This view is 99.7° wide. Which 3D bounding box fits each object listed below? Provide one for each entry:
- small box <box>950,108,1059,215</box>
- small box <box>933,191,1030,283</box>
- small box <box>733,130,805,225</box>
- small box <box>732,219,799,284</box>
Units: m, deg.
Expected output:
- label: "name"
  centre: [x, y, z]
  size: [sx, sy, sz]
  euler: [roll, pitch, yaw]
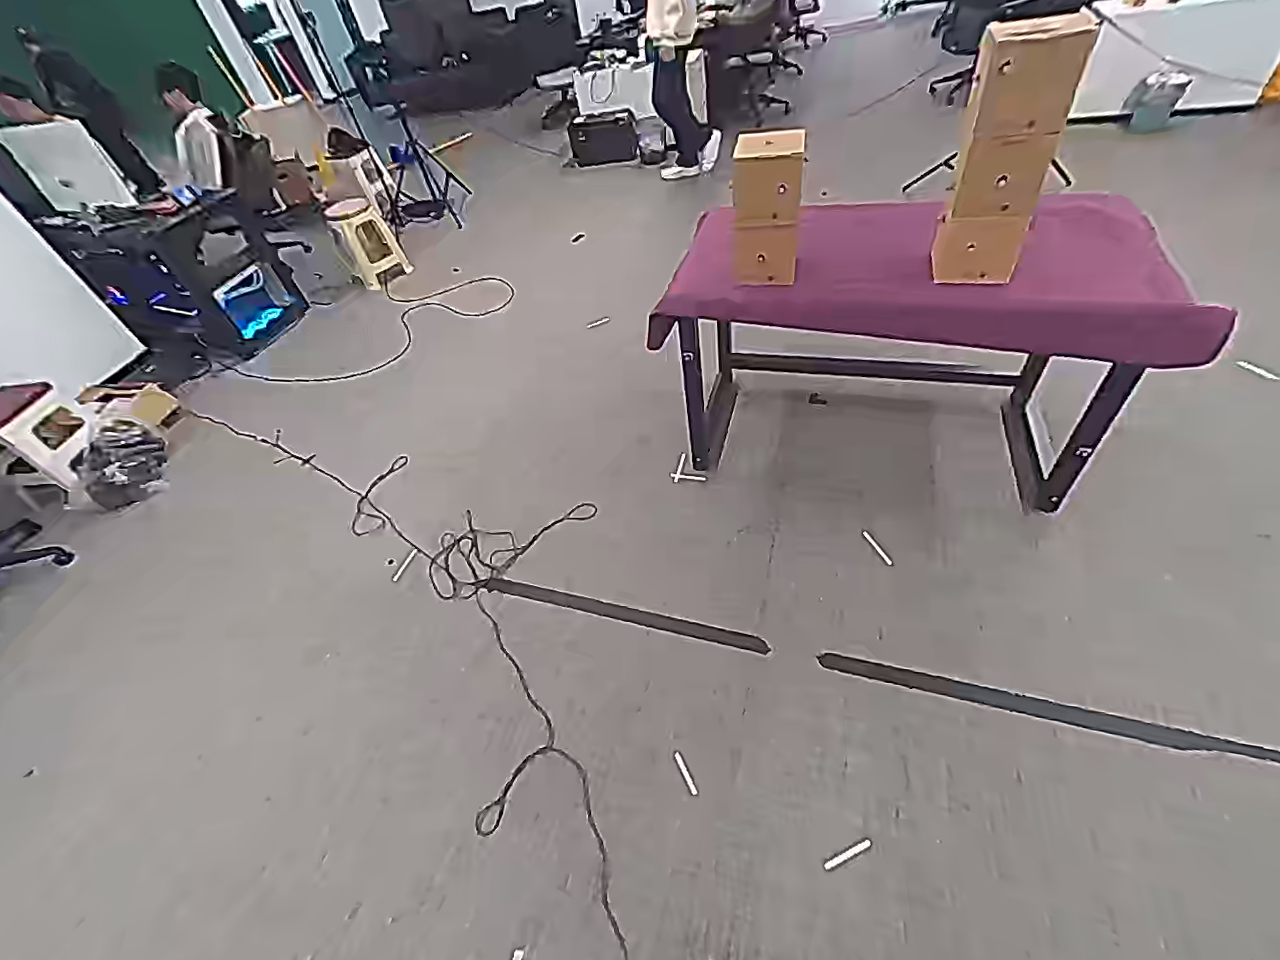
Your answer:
- label: "small box"
  centre: [0.826, -0.725, 1.243]
  size: [0.168, 0.176, 0.179]
  euler: [8, 50, 19]
- label: "small box"
  centre: [0.848, -0.611, 1.359]
  size: [0.168, 0.176, 0.179]
  euler: [7, 49, 18]
- label: "small box"
  centre: [0.328, -0.764, 1.375]
  size: [0.168, 0.176, 0.179]
  euler: [4, 47, 13]
- label: "small box"
  centre: [0.350, -0.659, 1.498]
  size: [0.168, 0.176, 0.179]
  euler: [5, 48, 15]
